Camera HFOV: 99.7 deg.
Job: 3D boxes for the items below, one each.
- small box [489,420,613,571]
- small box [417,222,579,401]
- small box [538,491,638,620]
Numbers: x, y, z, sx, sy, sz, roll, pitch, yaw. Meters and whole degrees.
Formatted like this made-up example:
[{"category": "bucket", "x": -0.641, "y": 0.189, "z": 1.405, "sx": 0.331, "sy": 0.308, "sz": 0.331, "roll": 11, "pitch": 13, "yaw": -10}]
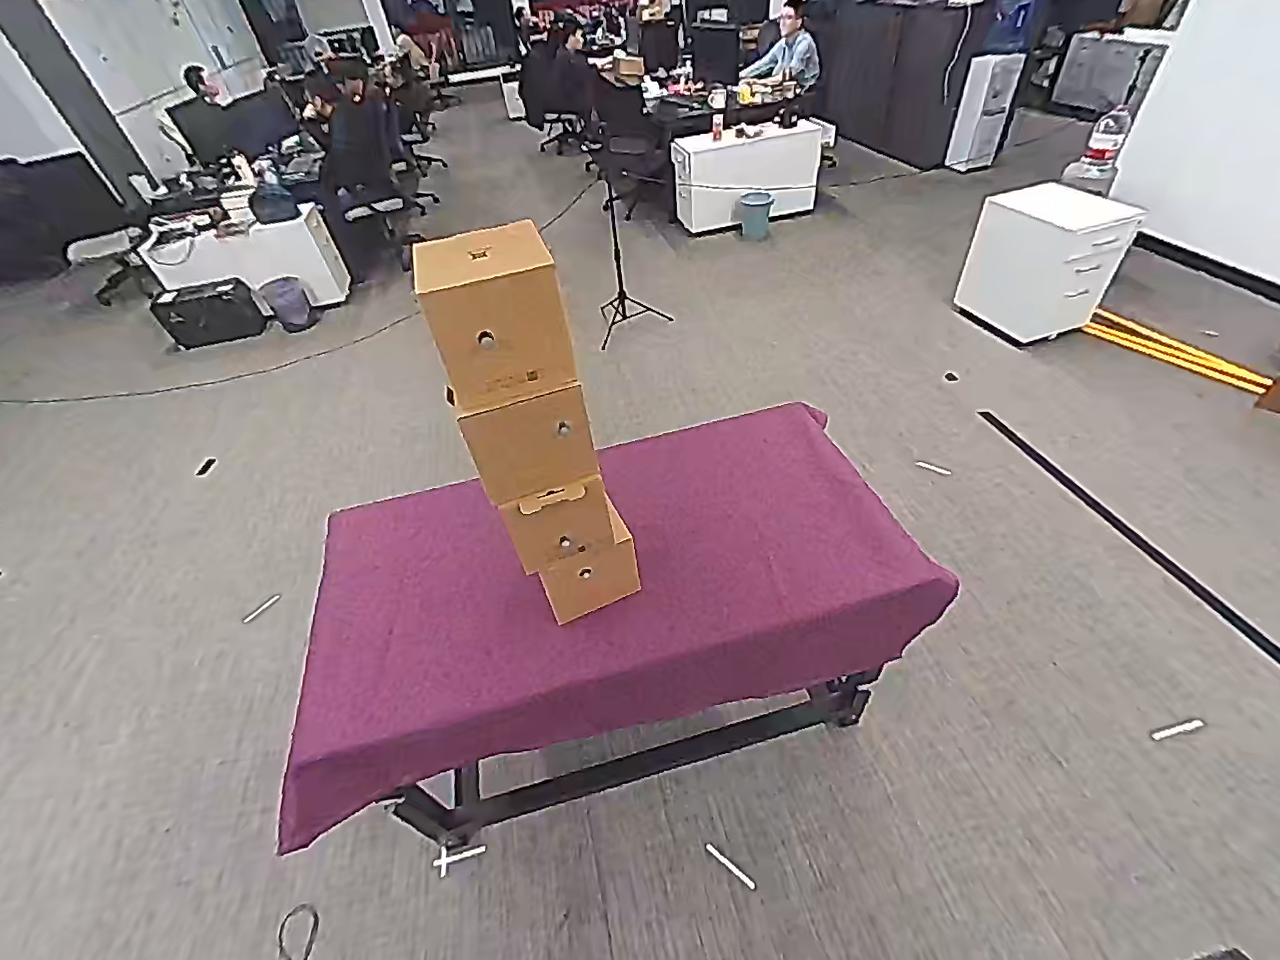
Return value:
[{"category": "small box", "x": -0.154, "y": 0.026, "z": 0.947, "sx": 0.168, "sy": 0.176, "sz": 0.179, "roll": -17, "pitch": 45, "yaw": -9}, {"category": "small box", "x": -0.191, "y": -0.225, "z": 0.739, "sx": 0.168, "sy": 0.176, "sz": 0.179, "roll": -16, "pitch": 44, "yaw": -9}, {"category": "small box", "x": -0.116, "y": 0.143, "z": 1.058, "sx": 0.179, "sy": 0.176, "sz": 0.168, "roll": -20, "pitch": 46, "yaw": -14}]
